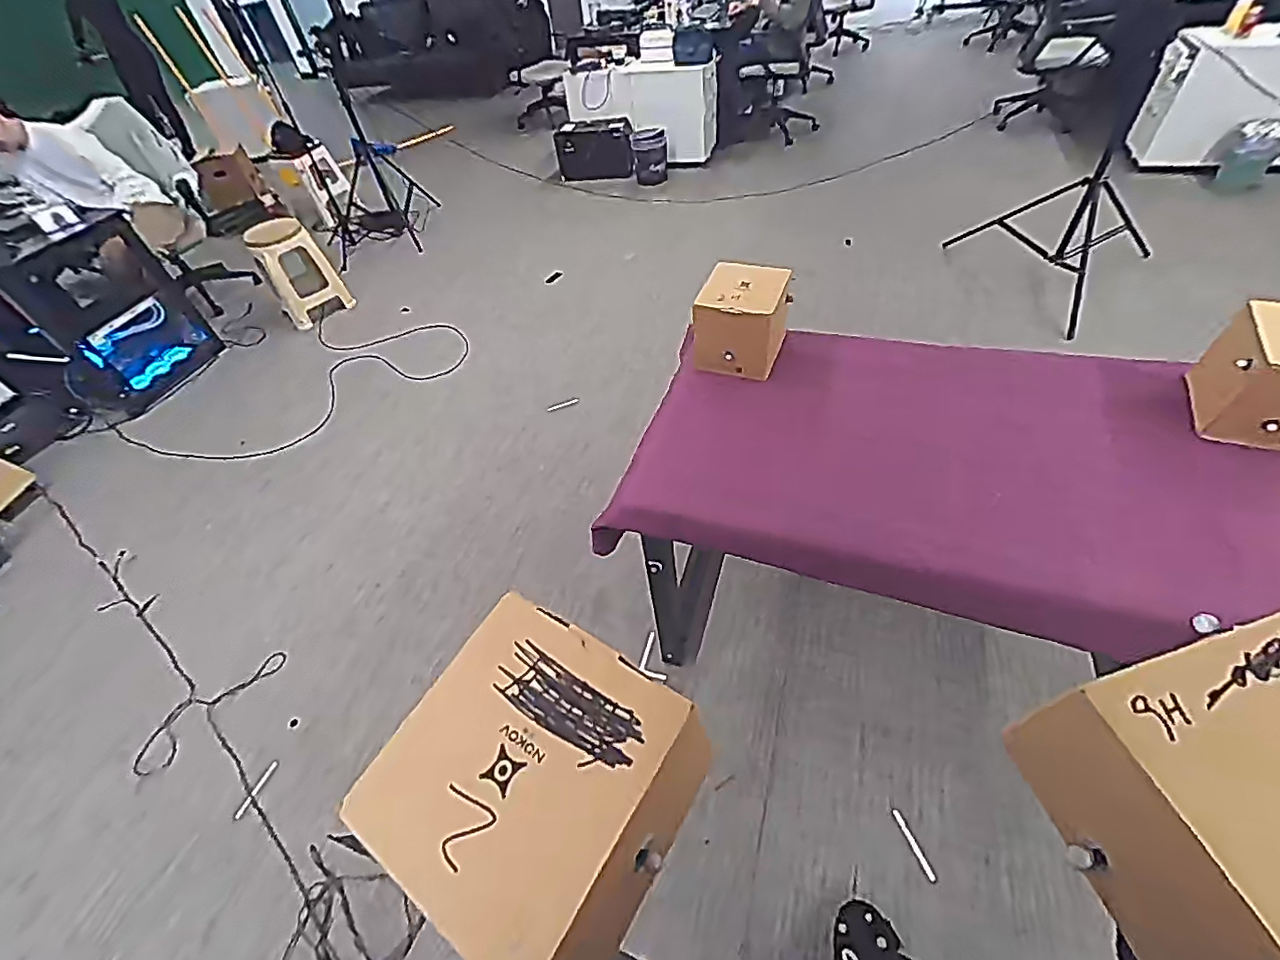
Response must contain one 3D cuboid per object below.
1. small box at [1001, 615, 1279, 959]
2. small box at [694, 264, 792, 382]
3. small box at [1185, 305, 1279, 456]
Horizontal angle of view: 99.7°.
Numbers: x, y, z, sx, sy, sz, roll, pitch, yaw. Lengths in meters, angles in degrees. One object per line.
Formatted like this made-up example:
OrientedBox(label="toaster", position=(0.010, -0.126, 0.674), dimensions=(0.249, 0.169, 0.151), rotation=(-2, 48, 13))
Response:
OrientedBox(label="small box", position=(0.376, 0.204, 0.336), dimensions=(0.168, 0.176, 0.179), rotation=(-21, 55, 1))
OrientedBox(label="small box", position=(0.225, -0.345, 1.189), dimensions=(0.168, 0.176, 0.179), rotation=(14, 54, 19))
OrientedBox(label="small box", position=(1.080, -0.164, 0.914), dimensions=(0.168, 0.176, 0.179), rotation=(15, 56, 20))
